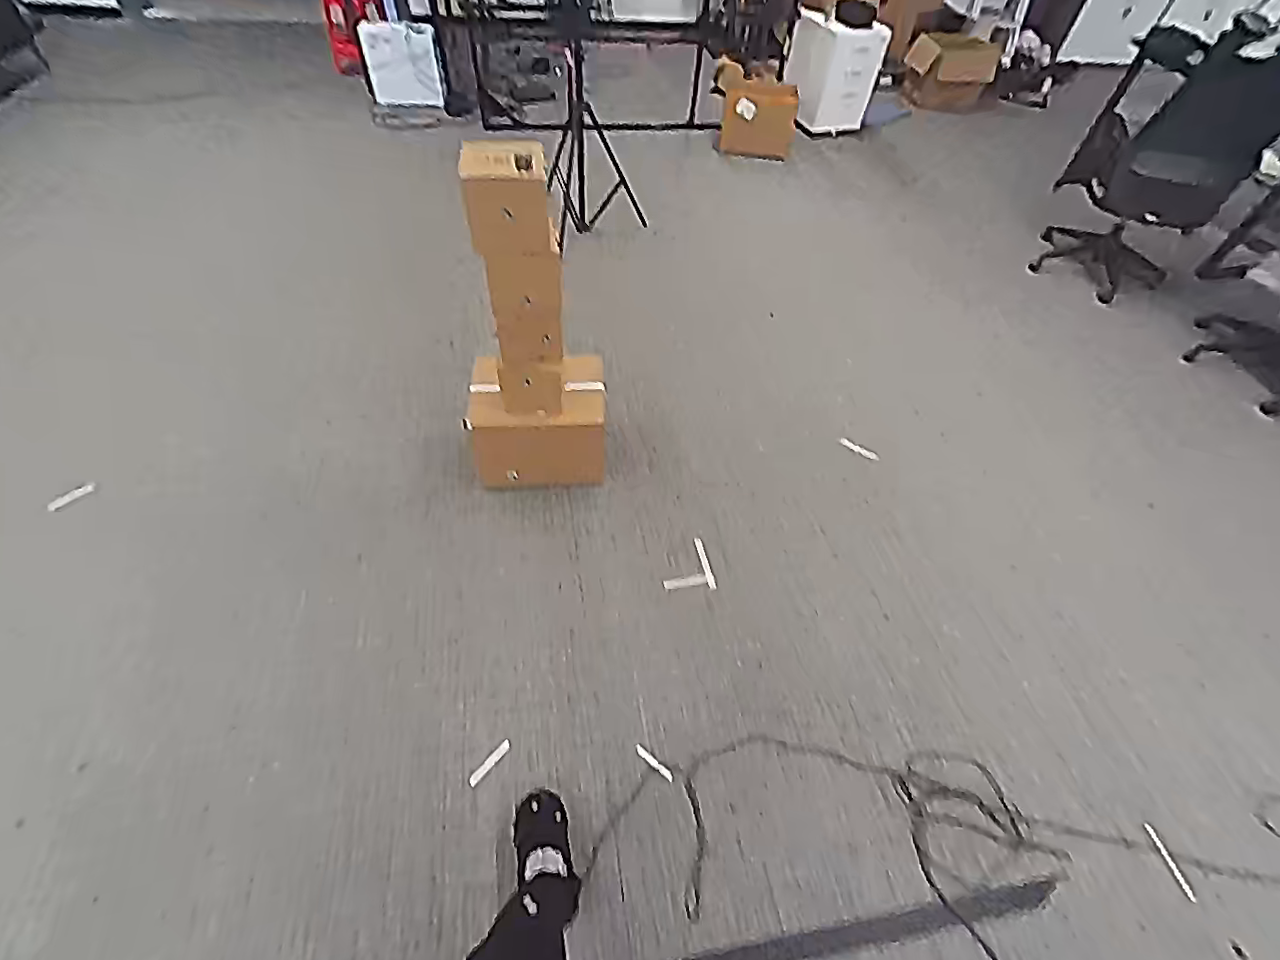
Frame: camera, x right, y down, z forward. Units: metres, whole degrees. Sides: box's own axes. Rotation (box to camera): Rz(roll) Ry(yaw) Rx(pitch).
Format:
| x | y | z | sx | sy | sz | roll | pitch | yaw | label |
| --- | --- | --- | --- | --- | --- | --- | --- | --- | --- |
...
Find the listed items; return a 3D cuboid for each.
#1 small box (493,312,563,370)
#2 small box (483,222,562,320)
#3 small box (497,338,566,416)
| x | y | z | sx | sy | sz | roll | pitch | yaw | label |
| --- | --- | --- | --- | --- | --- | --- | --- | --- | --- |
| -0.308 | -0.414 | 1.466 | 0.168 | 0.176 | 0.179 | -11 | 53 | -14 | small box |
| -0.288 | -0.513 | 1.337 | 0.179 | 0.176 | 0.168 | -6 | 53 | -11 | small box |
| -0.311 | -0.303 | 1.585 | 0.179 | 0.176 | 0.168 | 1 | 52 | -5 | small box |
